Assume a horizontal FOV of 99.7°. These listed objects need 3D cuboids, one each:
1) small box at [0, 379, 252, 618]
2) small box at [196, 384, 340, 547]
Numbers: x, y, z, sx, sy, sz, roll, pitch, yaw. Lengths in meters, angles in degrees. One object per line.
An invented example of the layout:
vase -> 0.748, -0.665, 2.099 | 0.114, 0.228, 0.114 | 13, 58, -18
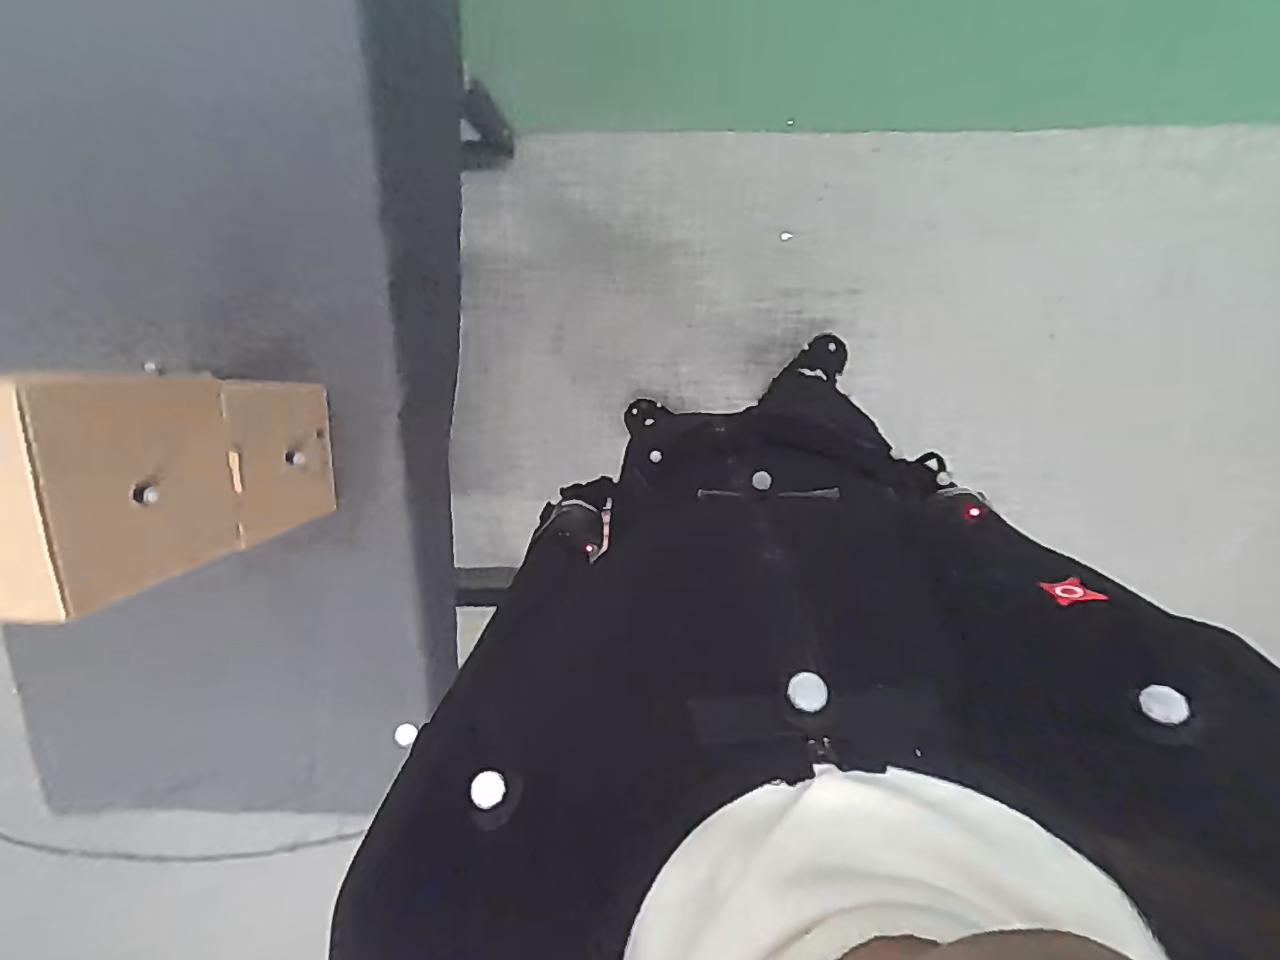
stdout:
small box -> -0.488, 0.002, 0.475 | 0.168, 0.176, 0.179 | 1, 103, 4
small box -> -0.481, -0.027, 0.638 | 0.179, 0.176, 0.168 | 1, 102, 3
